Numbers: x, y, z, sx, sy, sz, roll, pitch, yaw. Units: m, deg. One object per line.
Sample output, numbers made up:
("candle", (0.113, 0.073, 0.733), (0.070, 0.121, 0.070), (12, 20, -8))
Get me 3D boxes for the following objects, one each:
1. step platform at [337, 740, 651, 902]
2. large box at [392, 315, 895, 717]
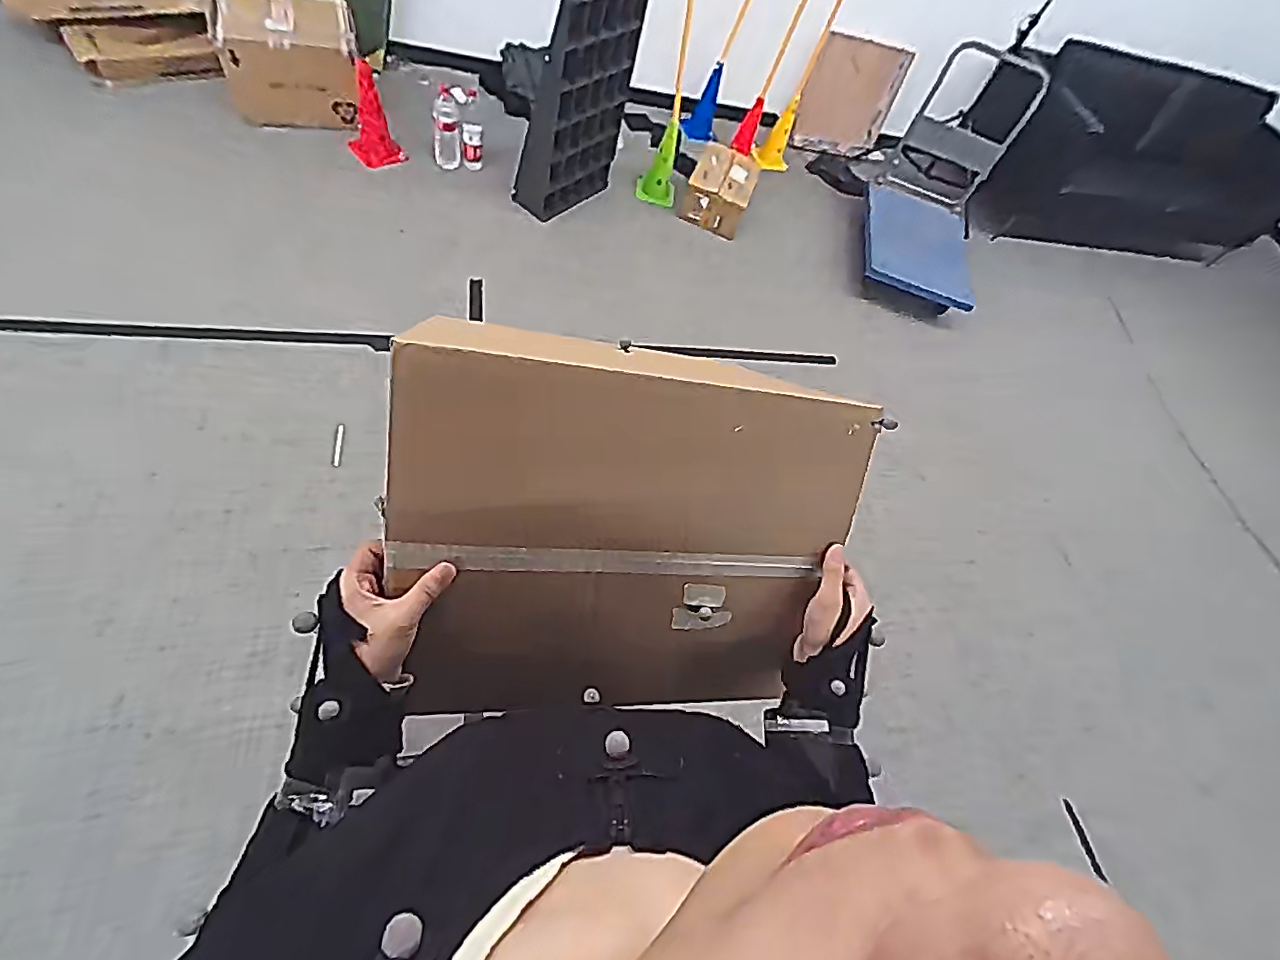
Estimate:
("step platform", (-0.316, 0.774, 1.265), (0.684, 0.204, 0.286), (5, 60, -14))
("large box", (-0.031, 0.008, 0.583), (0.408, 0.320, 0.320), (4, 19, -18))
